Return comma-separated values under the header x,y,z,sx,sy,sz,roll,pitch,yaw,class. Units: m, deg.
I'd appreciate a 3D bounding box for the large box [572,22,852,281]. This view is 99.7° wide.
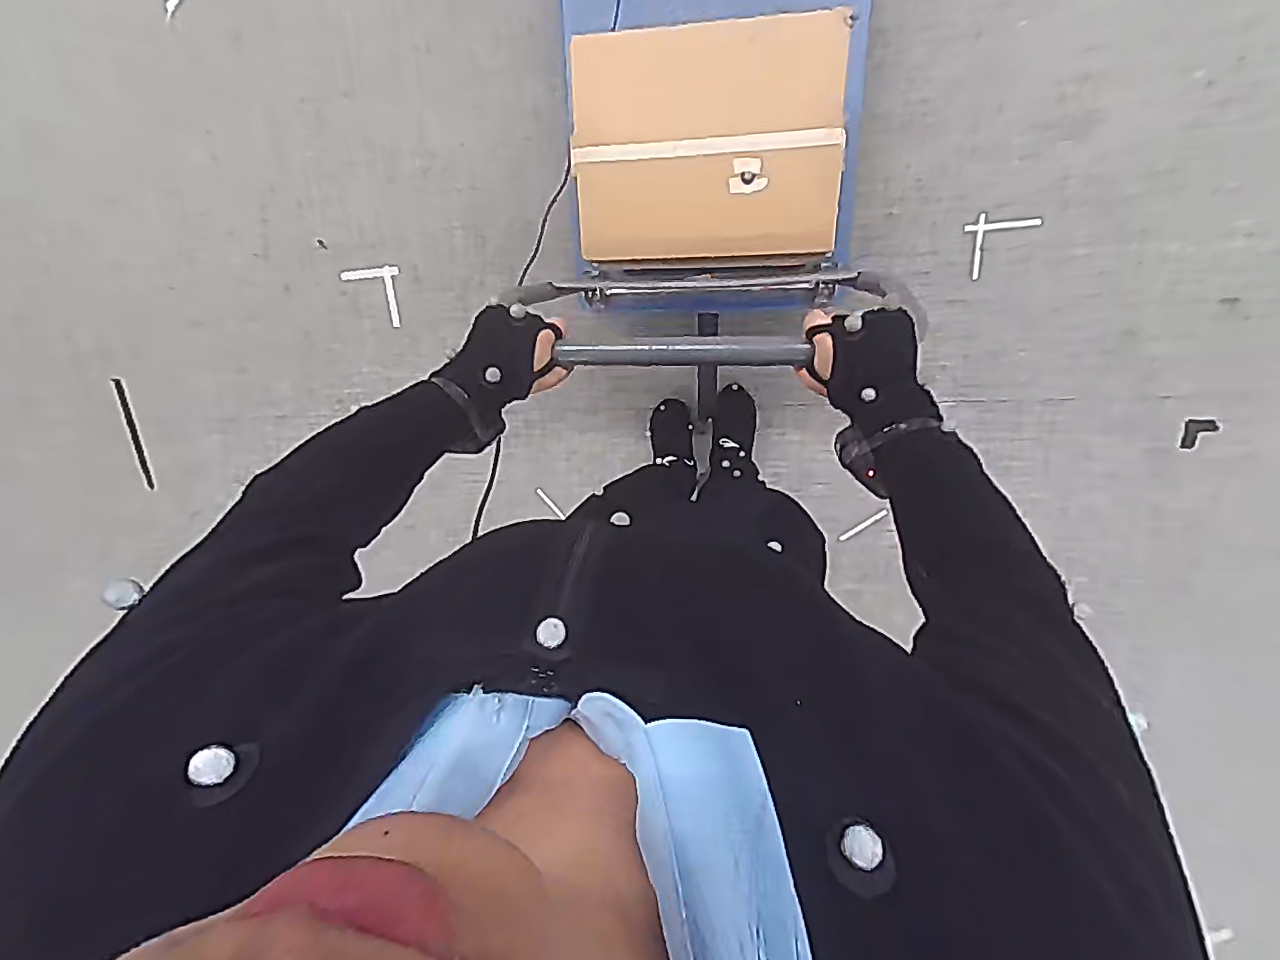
x,y,z,sx,sy,sz,roll,pitch,yaw,class
0.120,-0.528,0.953,0.408,0.320,0.320,1,109,8,large box
